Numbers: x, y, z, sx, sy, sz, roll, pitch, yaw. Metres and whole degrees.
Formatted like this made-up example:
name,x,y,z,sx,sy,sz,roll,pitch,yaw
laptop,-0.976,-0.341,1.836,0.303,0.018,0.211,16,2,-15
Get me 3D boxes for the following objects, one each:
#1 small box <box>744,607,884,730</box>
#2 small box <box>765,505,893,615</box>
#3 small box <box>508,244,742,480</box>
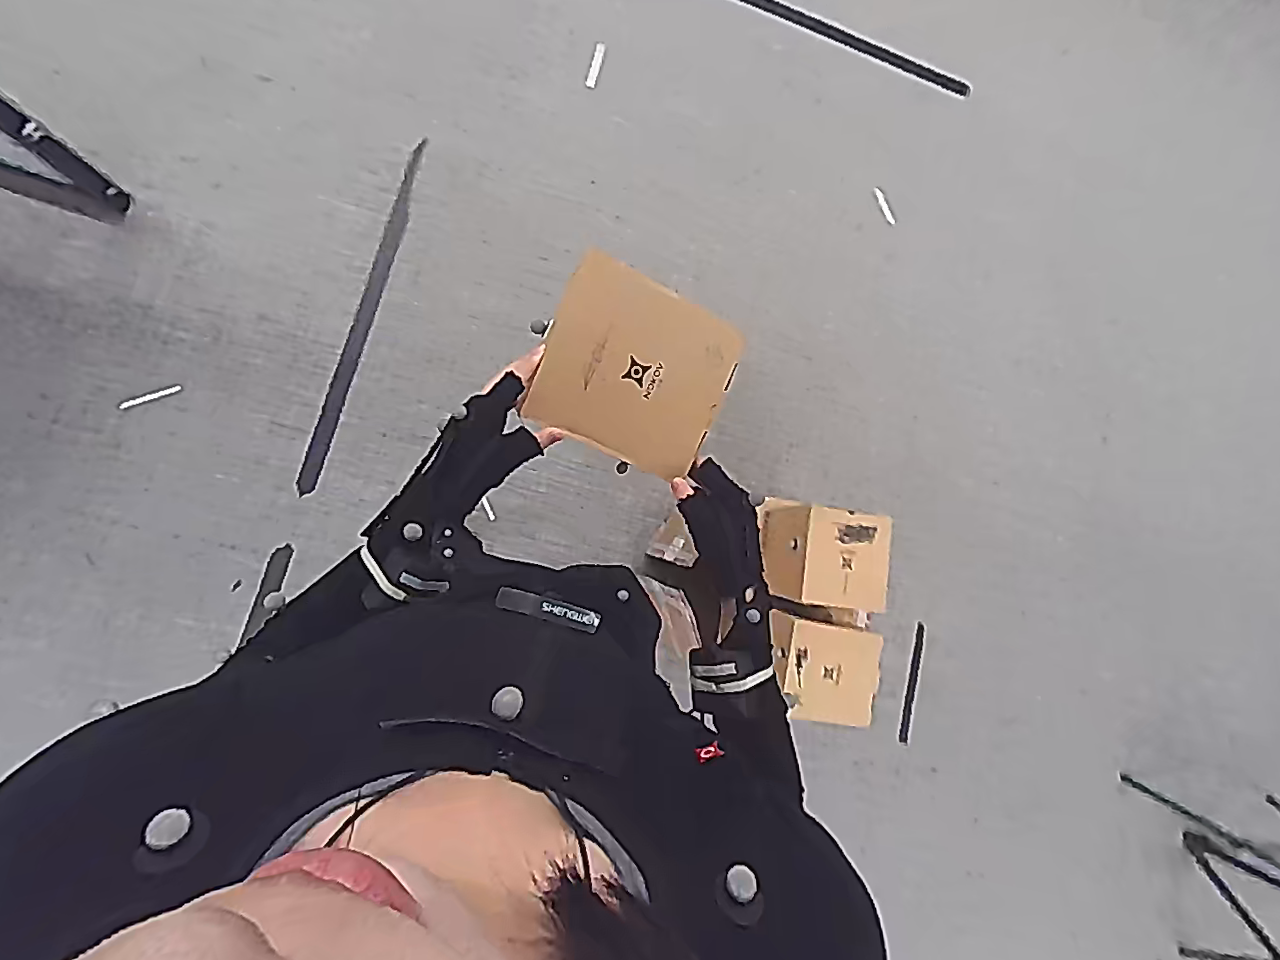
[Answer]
name,x,y,z,sx,sy,sz,roll,pitch,yaw
small box,0.319,0.344,1.014,0.179,0.176,0.168,12,85,-10
small box,0.353,0.150,1.035,0.168,0.176,0.179,9,83,-10
small box,-0.028,-0.116,0.577,0.179,0.176,0.168,22,91,-17
